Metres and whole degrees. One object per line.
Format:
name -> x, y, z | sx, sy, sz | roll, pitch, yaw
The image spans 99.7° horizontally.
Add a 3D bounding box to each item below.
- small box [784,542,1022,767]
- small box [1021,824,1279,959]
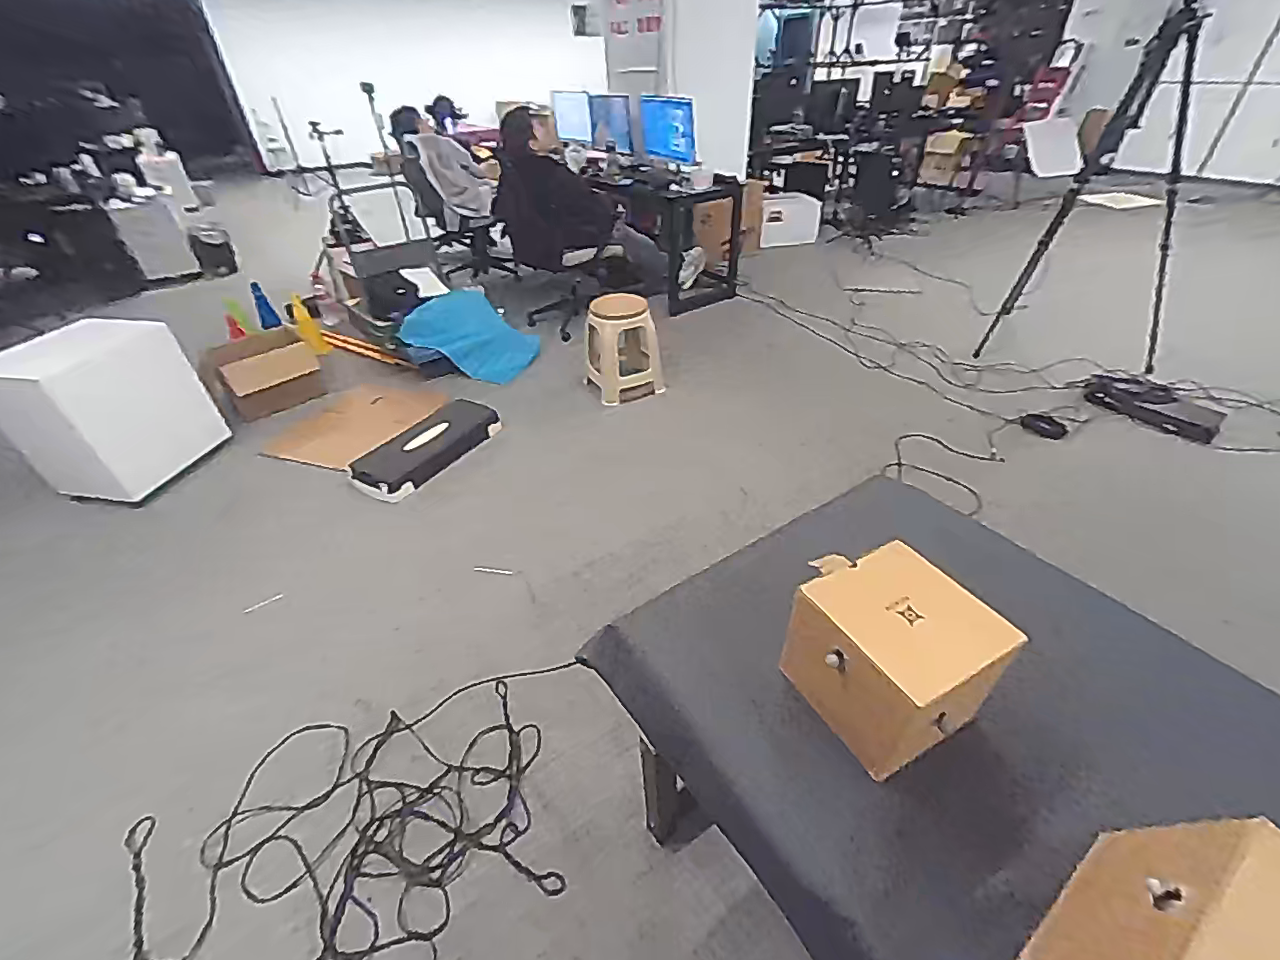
small box -> 0.298, 0.212, 0.654 | 0.168, 0.176, 0.179 | -19, 40, -21
small box -> 0.420, 0.380, 0.378 | 0.179, 0.176, 0.168 | -30, 60, -23
